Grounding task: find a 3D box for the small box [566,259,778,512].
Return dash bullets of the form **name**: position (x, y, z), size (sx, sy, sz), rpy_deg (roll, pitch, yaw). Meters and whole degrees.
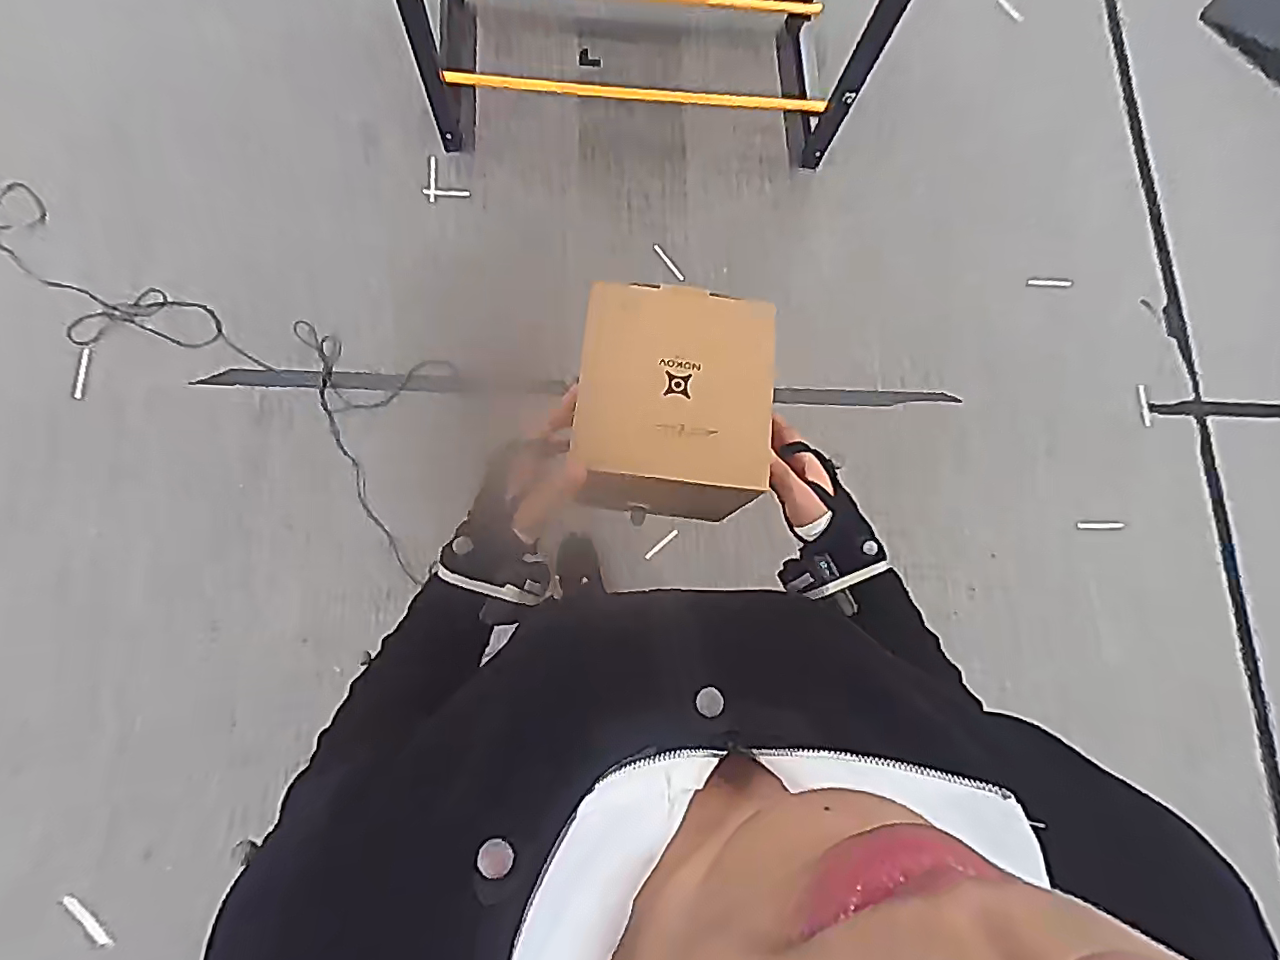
- **small box**: position (0.023, -0.076, 0.522), size (0.168, 0.176, 0.179), rpy_deg (7, 77, -4)
